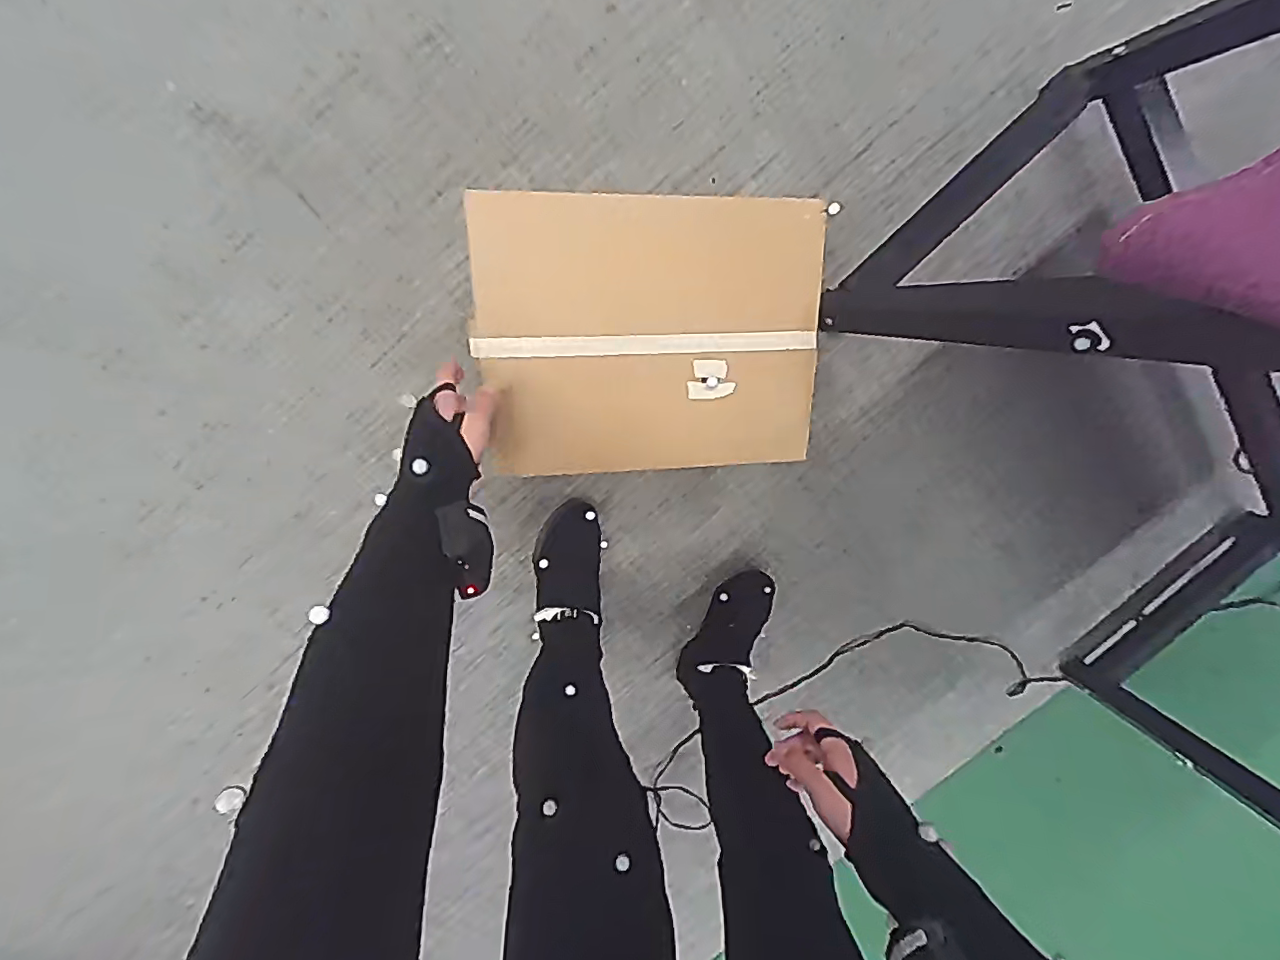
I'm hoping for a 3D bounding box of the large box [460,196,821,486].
[{"bbox_3d":[-0.012,-0.197,0.764,0.408,0.320,0.320,-4,108,-10],"label":"large box"}]
